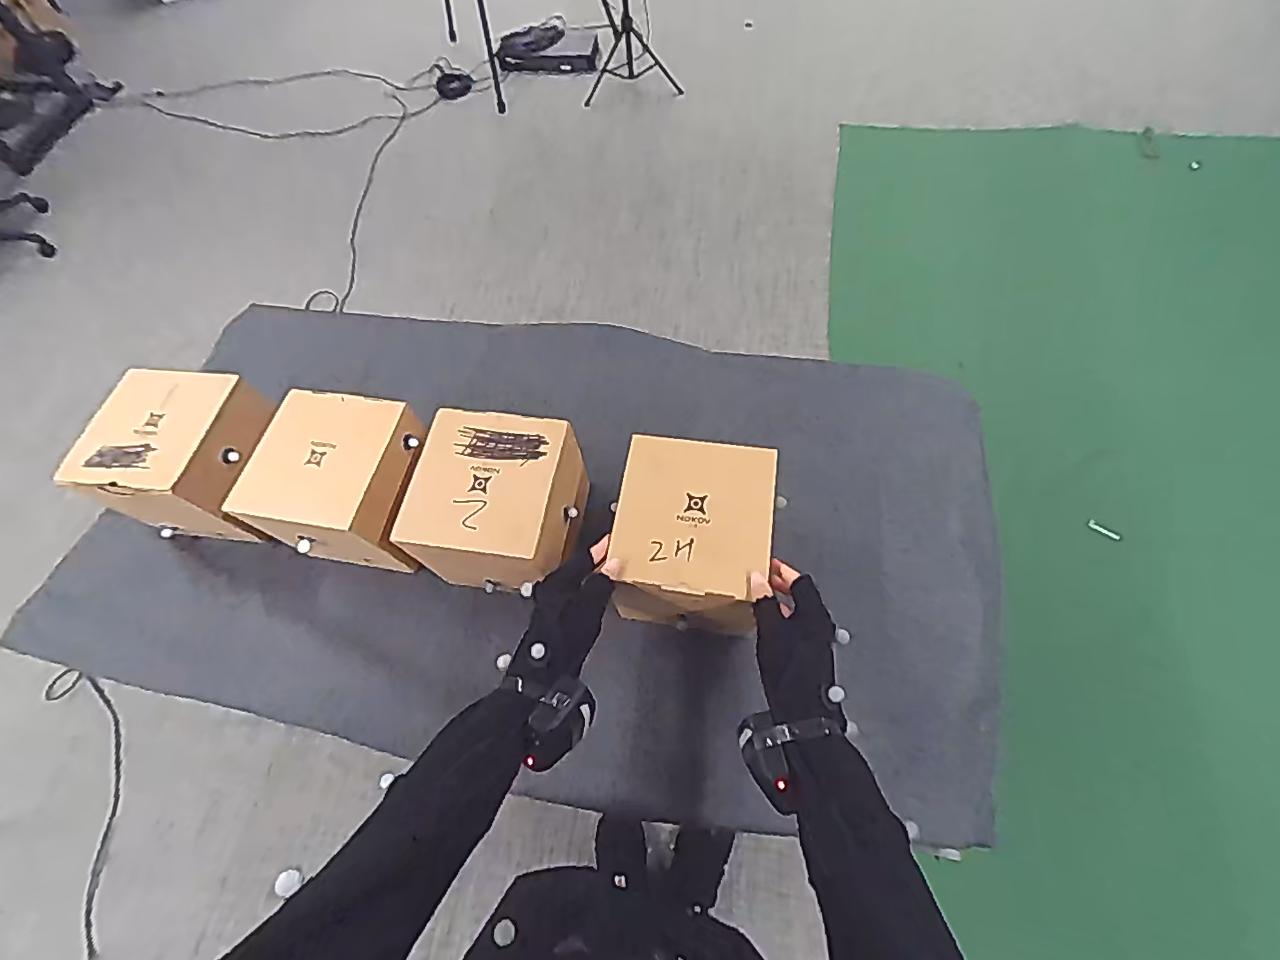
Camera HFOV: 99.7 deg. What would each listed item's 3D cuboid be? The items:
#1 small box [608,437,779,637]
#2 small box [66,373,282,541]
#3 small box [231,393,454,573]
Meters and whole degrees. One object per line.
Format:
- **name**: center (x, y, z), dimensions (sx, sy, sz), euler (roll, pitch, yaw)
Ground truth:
- **small box**: center (0.067, 0.073, 0.646), dimensions (0.168, 0.176, 0.179), euler (6, 63, 9)
- **small box**: center (-0.603, -0.026, 0.756), dimensions (0.168, 0.176, 0.179), euler (5, 62, 7)
- **small box**: center (-0.373, 0.011, 0.719), dimensions (0.168, 0.176, 0.179), euler (8, 63, 9)
